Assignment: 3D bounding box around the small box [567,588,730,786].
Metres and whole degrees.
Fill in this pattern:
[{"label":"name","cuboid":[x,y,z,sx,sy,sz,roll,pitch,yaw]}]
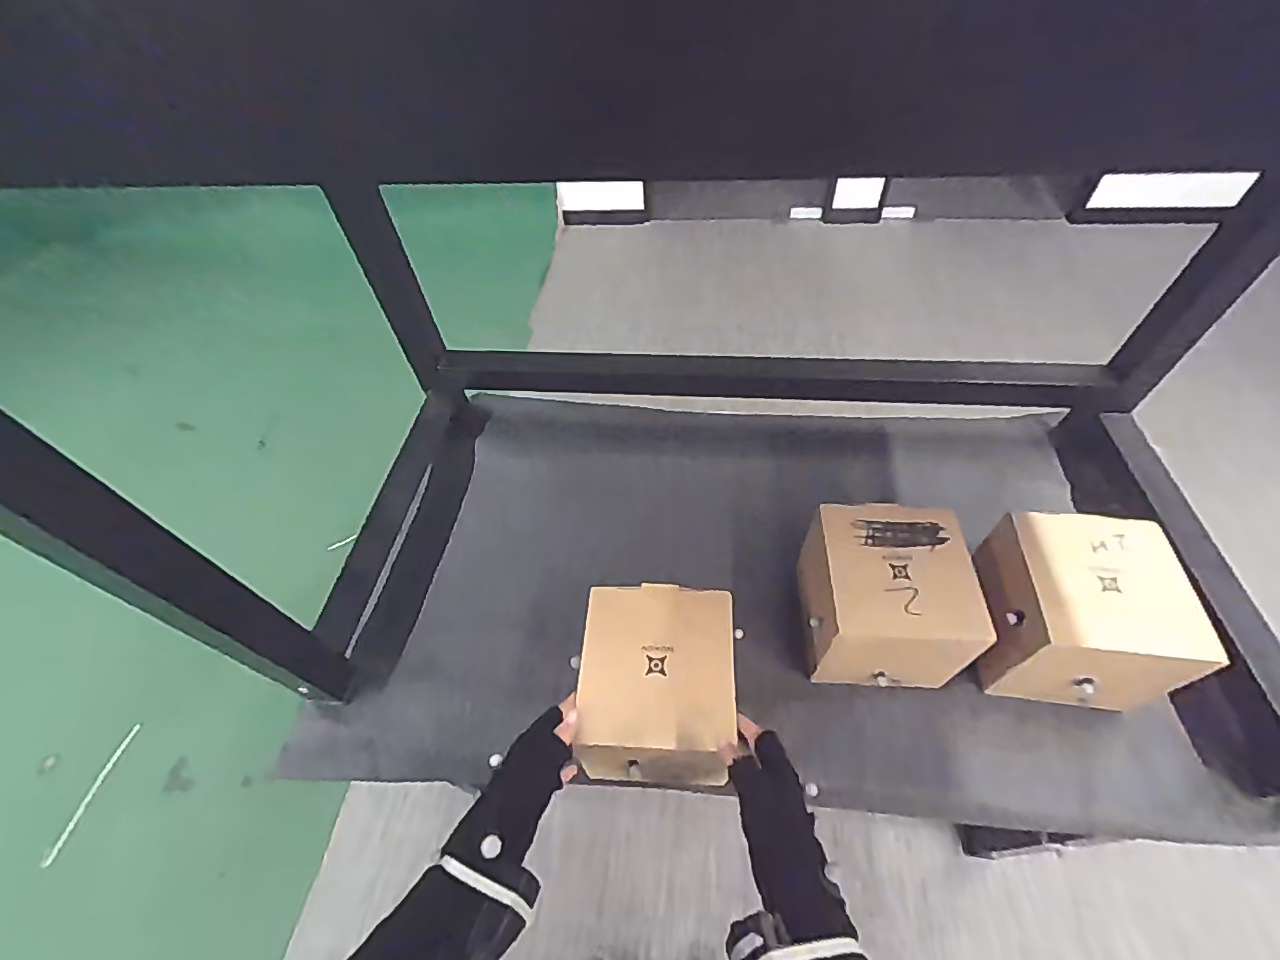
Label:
[{"label":"small box","cuboid":[0.018,0.248,0.641,0.168,0.176,0.179,1,49,4]}]
